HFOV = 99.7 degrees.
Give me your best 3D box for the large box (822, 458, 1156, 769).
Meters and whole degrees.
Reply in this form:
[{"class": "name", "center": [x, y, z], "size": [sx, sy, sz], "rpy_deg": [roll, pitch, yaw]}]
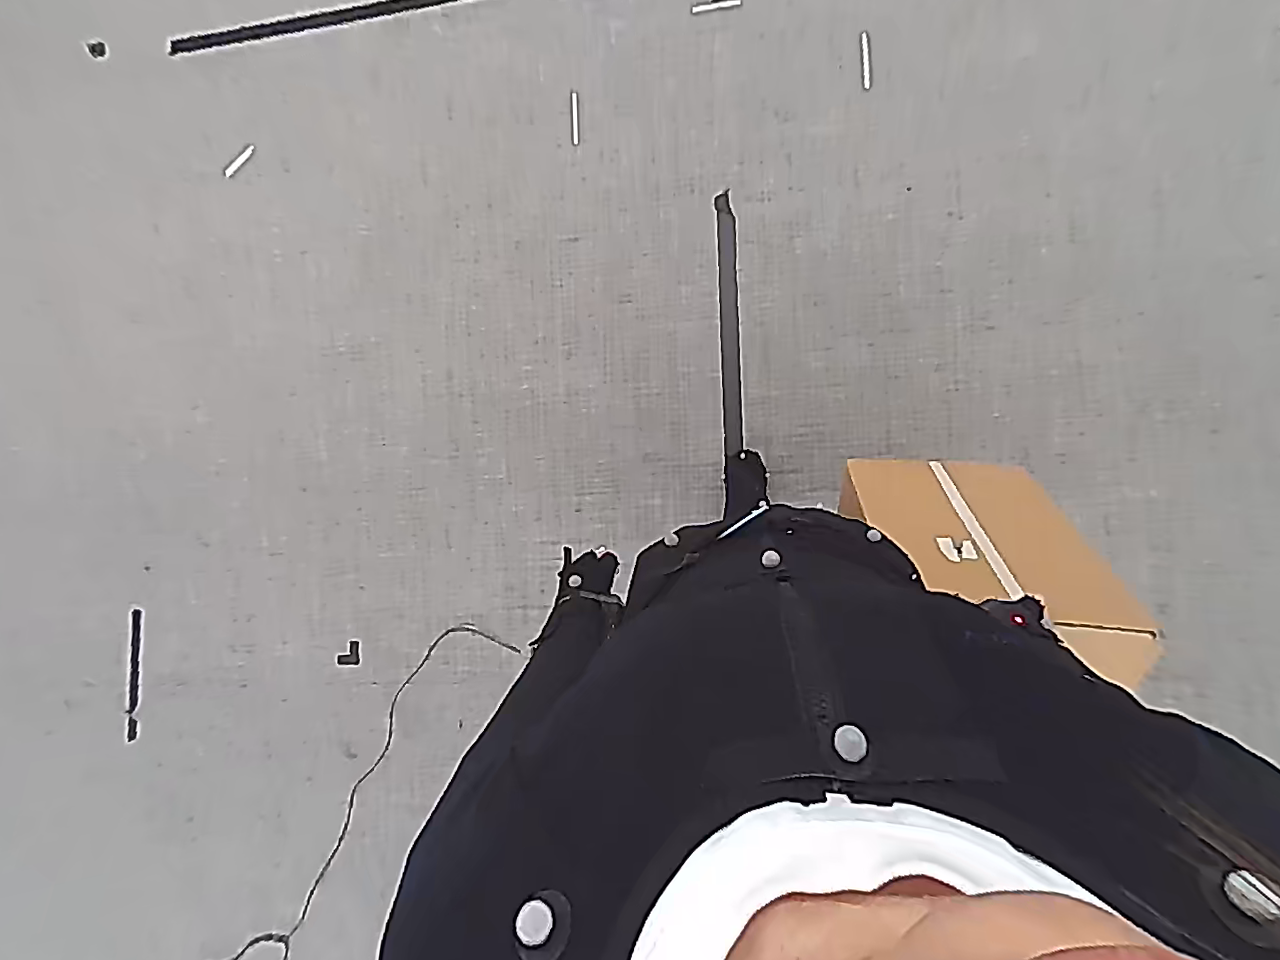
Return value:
[{"class": "large box", "center": [0.512, 0.199, 0.920], "size": [0.320, 0.408, 0.320], "rpy_deg": [2, 124, 10]}]
